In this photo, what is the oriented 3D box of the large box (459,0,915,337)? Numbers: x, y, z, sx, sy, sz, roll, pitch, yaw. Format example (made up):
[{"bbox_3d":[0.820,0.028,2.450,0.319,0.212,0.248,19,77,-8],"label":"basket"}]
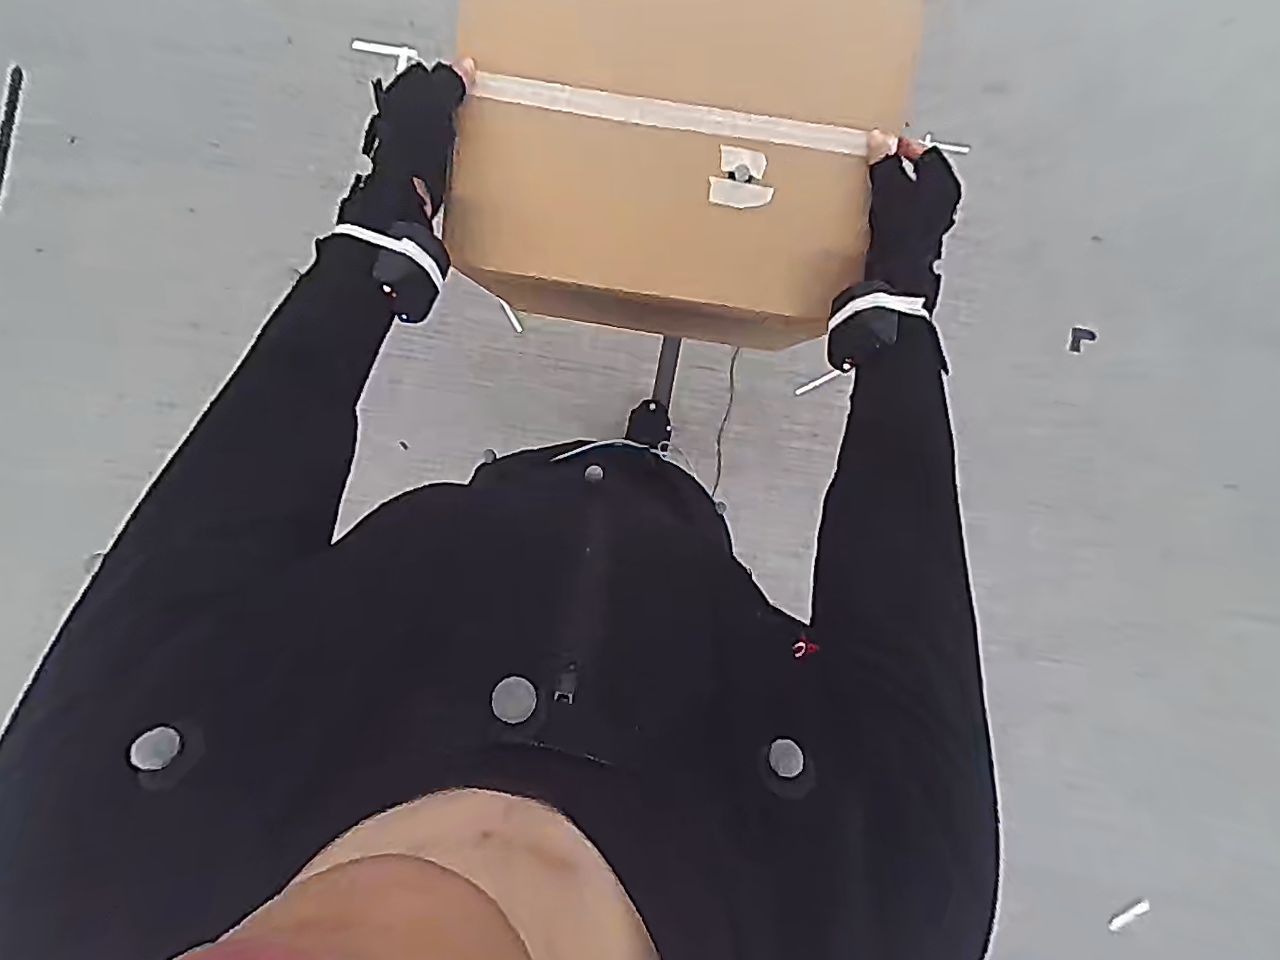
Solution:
[{"bbox_3d":[0.036,-0.367,0.650,0.408,0.320,0.320,8,99,-2],"label":"large box"}]
